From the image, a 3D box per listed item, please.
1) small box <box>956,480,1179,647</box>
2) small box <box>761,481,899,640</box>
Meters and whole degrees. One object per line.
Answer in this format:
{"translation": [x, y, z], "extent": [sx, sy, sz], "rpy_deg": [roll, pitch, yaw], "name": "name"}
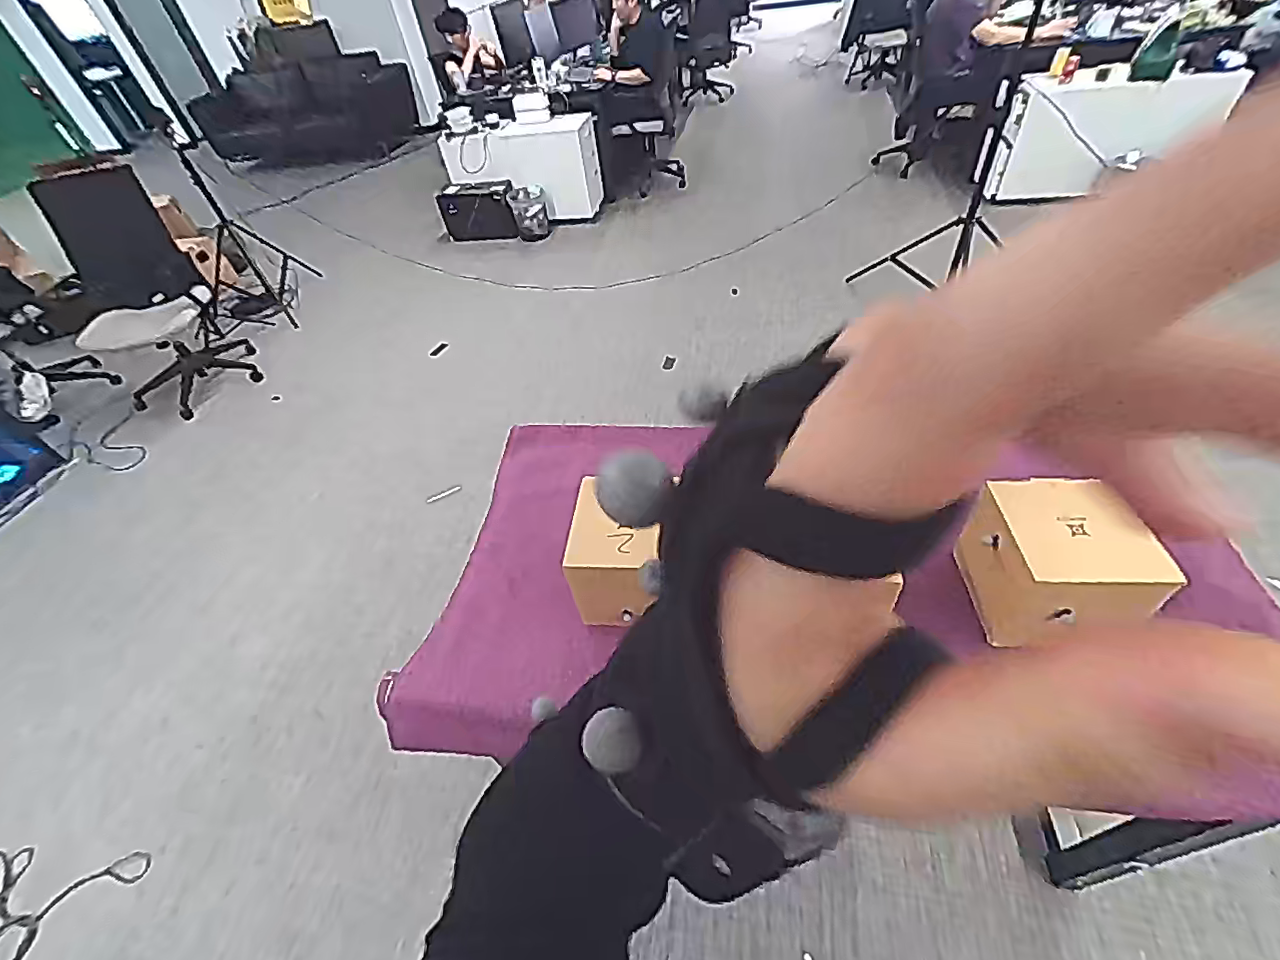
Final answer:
{"translation": [0.577, 0.120, 0.764], "extent": [0.168, 0.176, 0.179], "rpy_deg": [-1, 44, 9], "name": "small box"}
{"translation": [0.271, 0.122, 0.810], "extent": [0.168, 0.176, 0.179], "rpy_deg": [2, 46, 10], "name": "small box"}
